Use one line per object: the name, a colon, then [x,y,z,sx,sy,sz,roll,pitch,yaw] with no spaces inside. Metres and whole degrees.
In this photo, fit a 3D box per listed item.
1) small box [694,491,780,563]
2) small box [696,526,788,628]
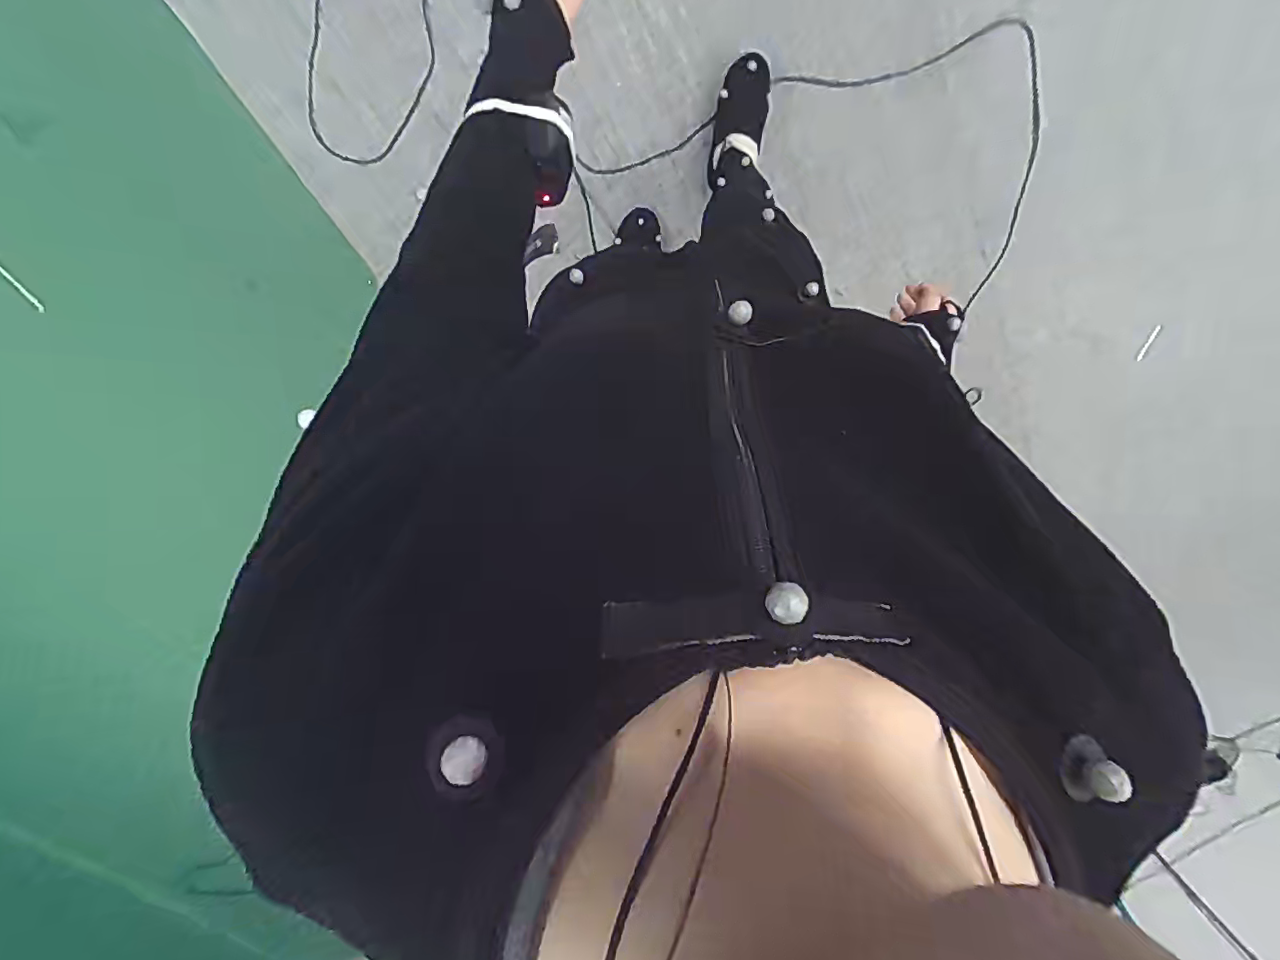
small box: [0.271,0.161,1.550,0.179,0.176,0.168,-29,114,14]
small box: [0.258,0.243,1.407,0.168,0.176,0.179,-29,115,15]
